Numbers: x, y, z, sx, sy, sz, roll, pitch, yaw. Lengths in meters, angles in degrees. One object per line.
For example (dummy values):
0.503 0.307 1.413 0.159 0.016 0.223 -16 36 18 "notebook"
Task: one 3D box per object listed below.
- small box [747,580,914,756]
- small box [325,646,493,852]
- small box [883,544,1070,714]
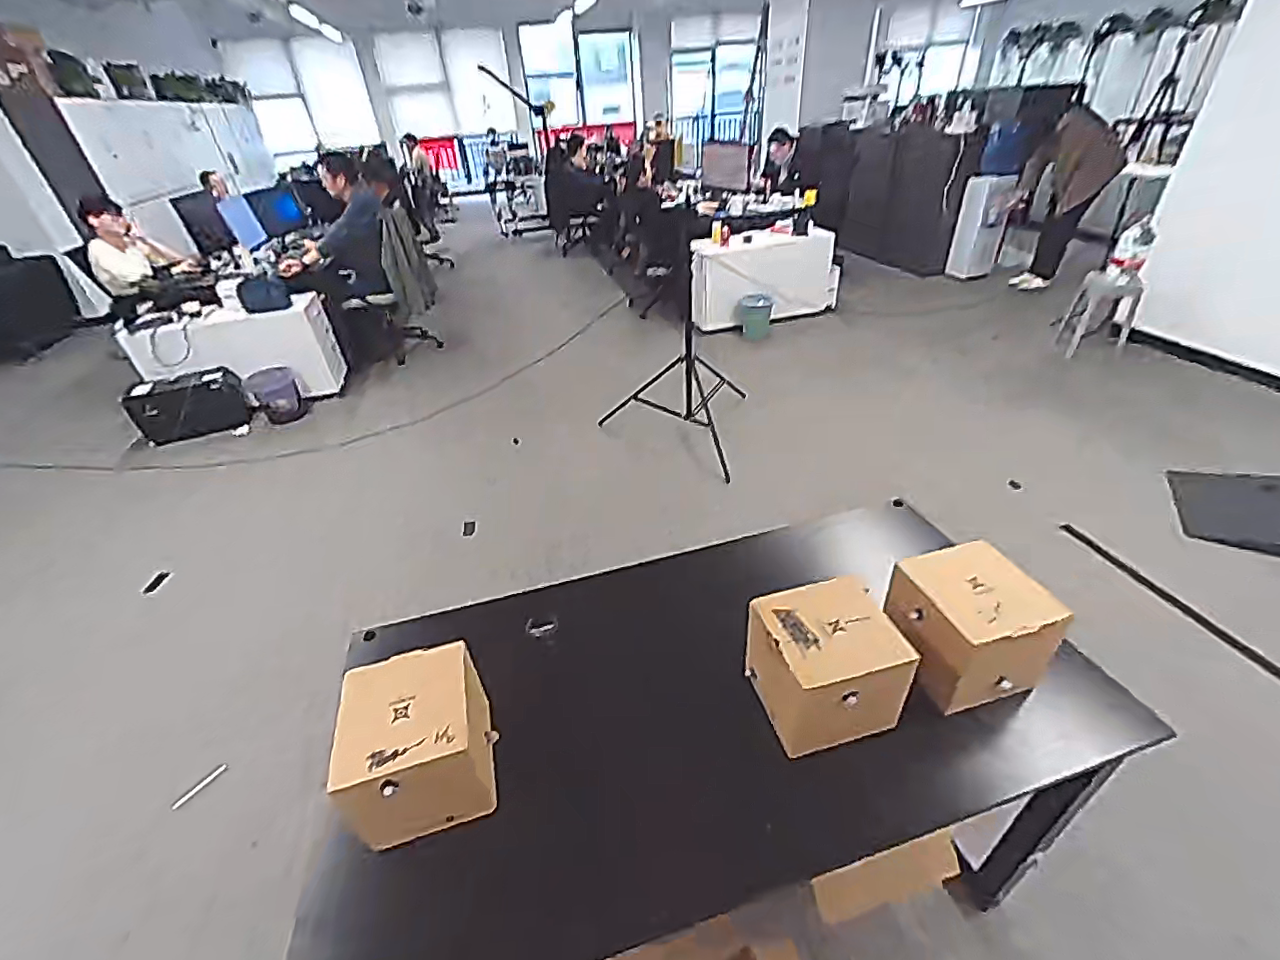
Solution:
0.272 0.282 0.815 0.179 0.176 0.168 -11 35 -10 "small box"
-0.308 0.371 0.757 0.168 0.176 0.179 -13 35 -12 "small box"
0.510 0.232 0.856 0.168 0.176 0.179 -12 35 -9 "small box"
